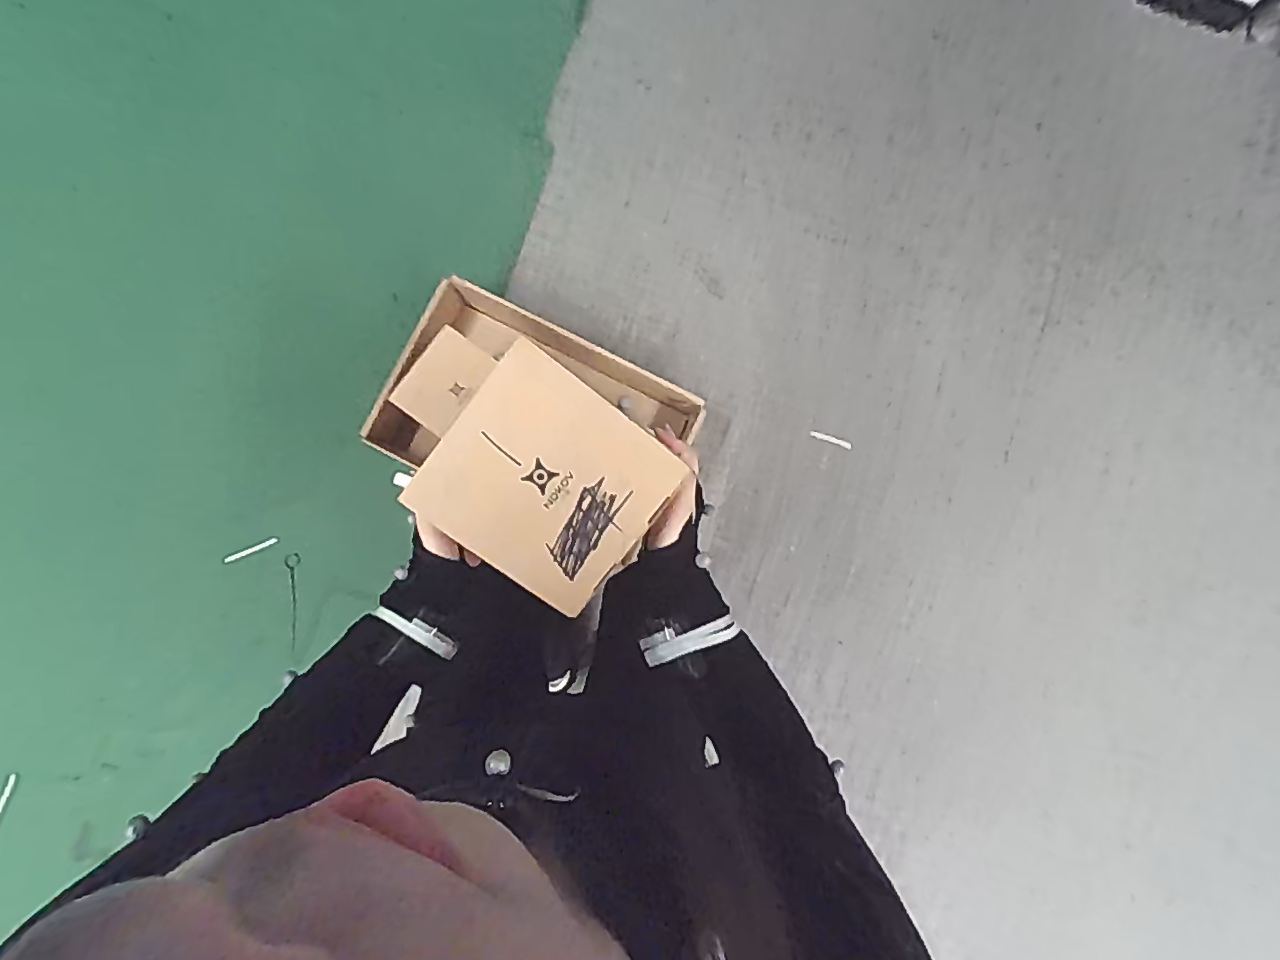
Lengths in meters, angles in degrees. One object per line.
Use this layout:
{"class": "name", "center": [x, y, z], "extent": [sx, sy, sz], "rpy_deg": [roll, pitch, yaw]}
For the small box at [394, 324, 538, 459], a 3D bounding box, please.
{"class": "small box", "center": [-0.312, -0.152, 1.009], "extent": [0.179, 0.176, 0.168], "rpy_deg": [37, 86, -3]}
